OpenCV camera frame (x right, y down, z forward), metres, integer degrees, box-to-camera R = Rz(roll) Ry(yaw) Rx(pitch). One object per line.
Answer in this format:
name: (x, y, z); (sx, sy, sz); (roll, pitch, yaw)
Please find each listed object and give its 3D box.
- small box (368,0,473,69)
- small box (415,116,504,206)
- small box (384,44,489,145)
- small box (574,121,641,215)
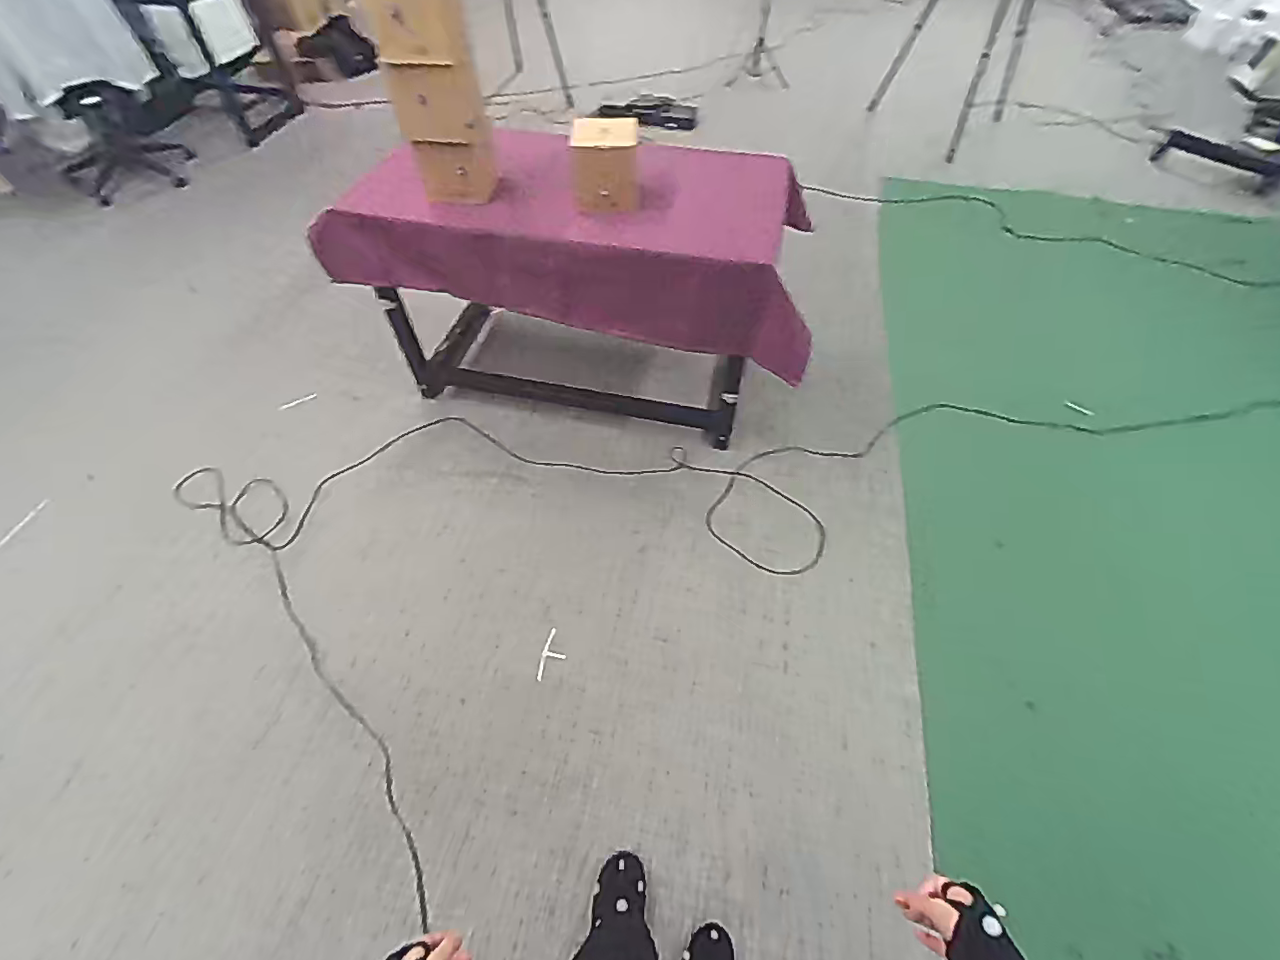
small box: (-0.483, -1.040, 1.199); (0.168, 0.176, 0.179); (2, 53, 0)
small box: (-0.484, -0.875, 1.483); (0.168, 0.176, 0.179); (6, 53, 3)
small box: (-0.490, -0.953, 1.337); (0.179, 0.176, 0.168); (5, 54, 3)
small box: (-0.081, -0.838, 1.452); (0.168, 0.176, 0.179); (0, 53, 1)
